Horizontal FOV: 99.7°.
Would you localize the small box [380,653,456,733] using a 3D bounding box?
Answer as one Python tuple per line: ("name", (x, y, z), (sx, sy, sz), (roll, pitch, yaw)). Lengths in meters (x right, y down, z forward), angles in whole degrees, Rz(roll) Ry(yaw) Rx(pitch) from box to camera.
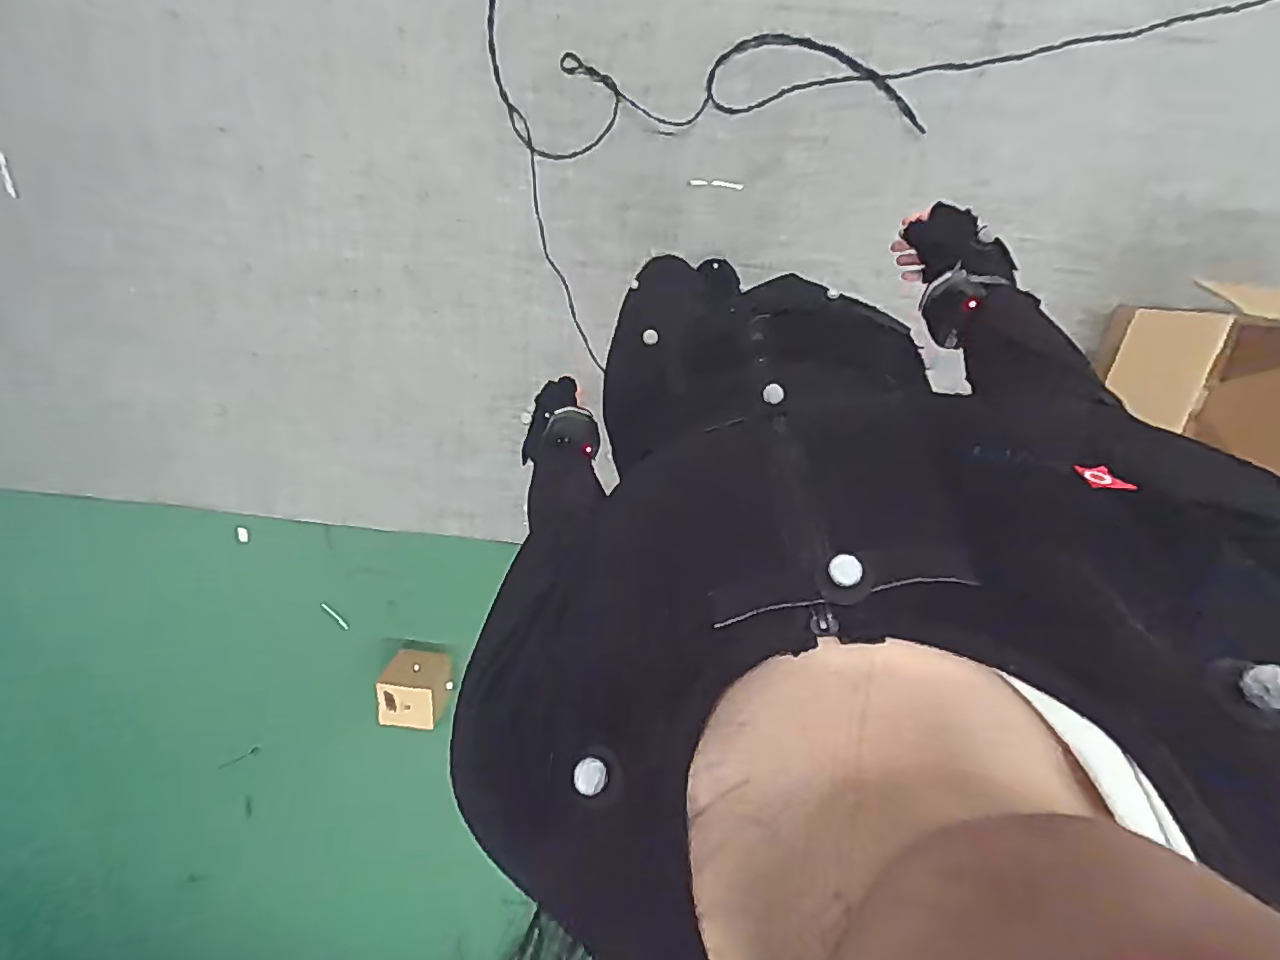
("small box", (-0.712, 0.681, 1.748), (0.179, 0.176, 0.168), (7, 112, 1))
